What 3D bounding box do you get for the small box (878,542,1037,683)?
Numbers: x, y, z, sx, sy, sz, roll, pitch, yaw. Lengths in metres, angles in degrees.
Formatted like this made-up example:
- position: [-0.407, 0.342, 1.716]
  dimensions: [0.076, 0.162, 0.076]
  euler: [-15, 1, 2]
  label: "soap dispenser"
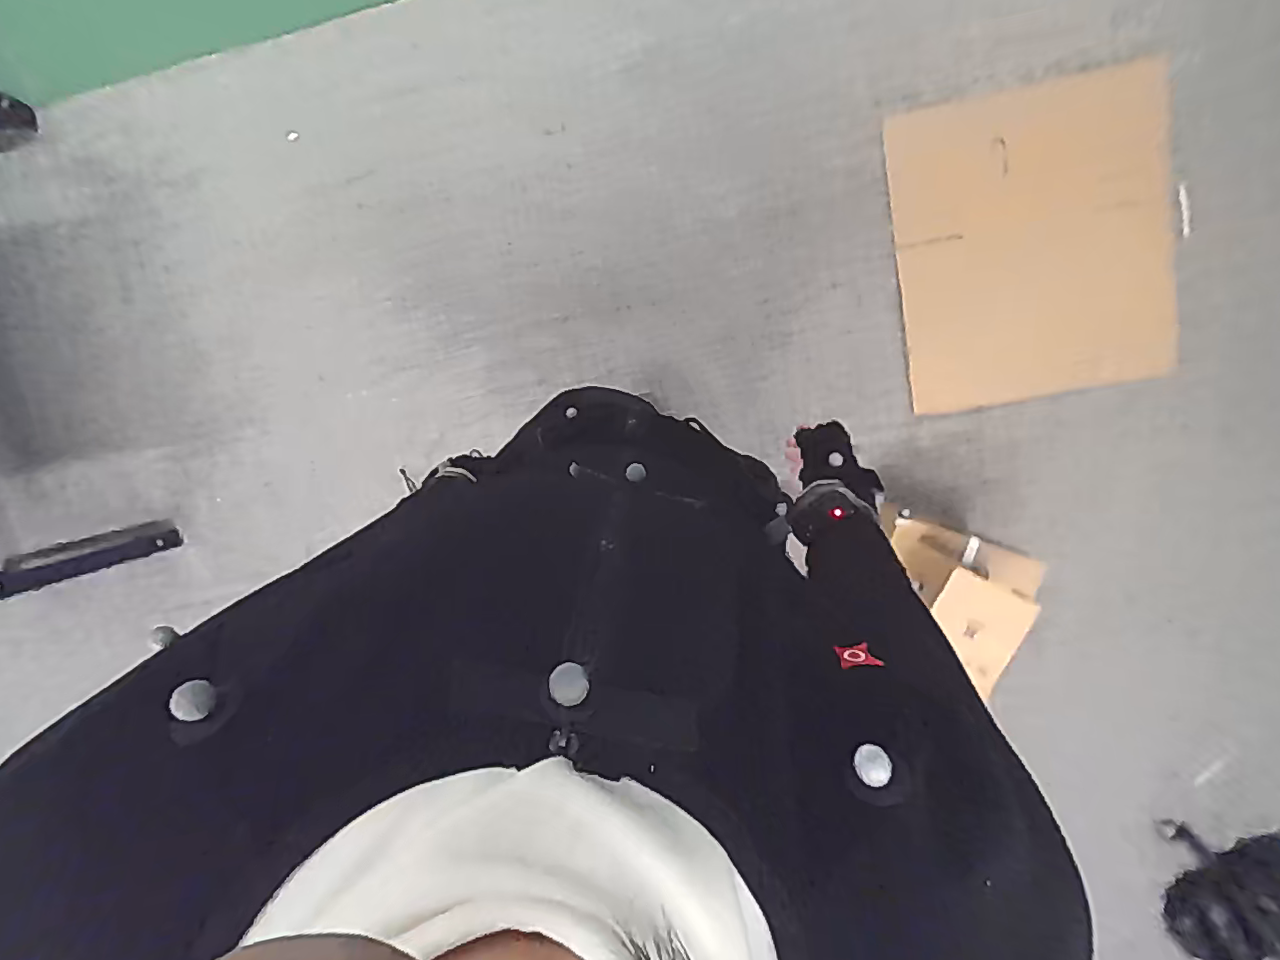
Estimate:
- position: [0.581, 0.238, 1.019]
  dimensions: [0.168, 0.176, 0.179]
  euler: [23, 100, 0]
  label: "small box"
